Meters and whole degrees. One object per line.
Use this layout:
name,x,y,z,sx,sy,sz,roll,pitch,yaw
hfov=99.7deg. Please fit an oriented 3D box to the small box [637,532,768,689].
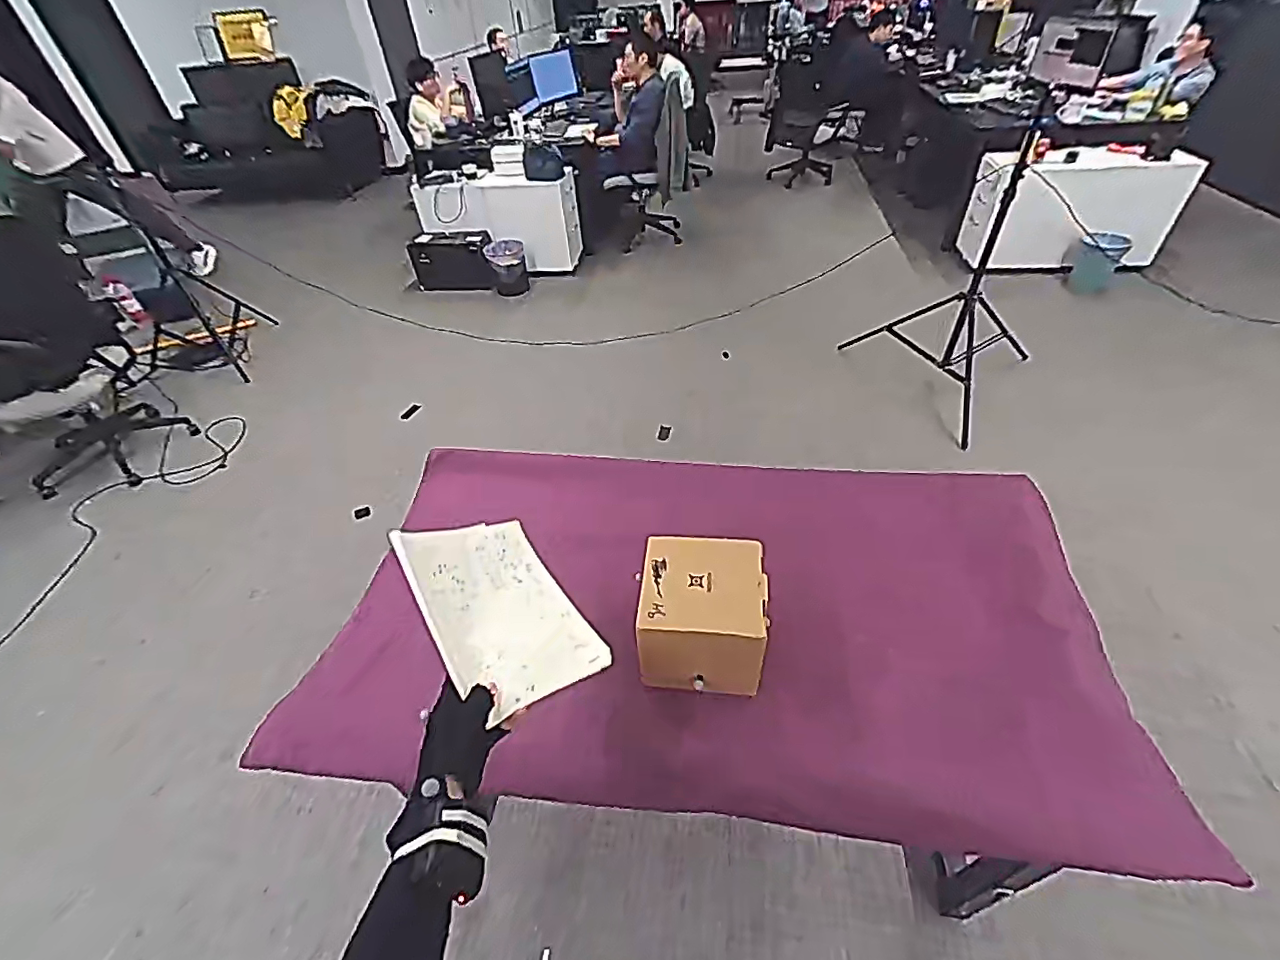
small box,0.095,0.200,0.825,0.179,0.176,0.168,3,43,7
